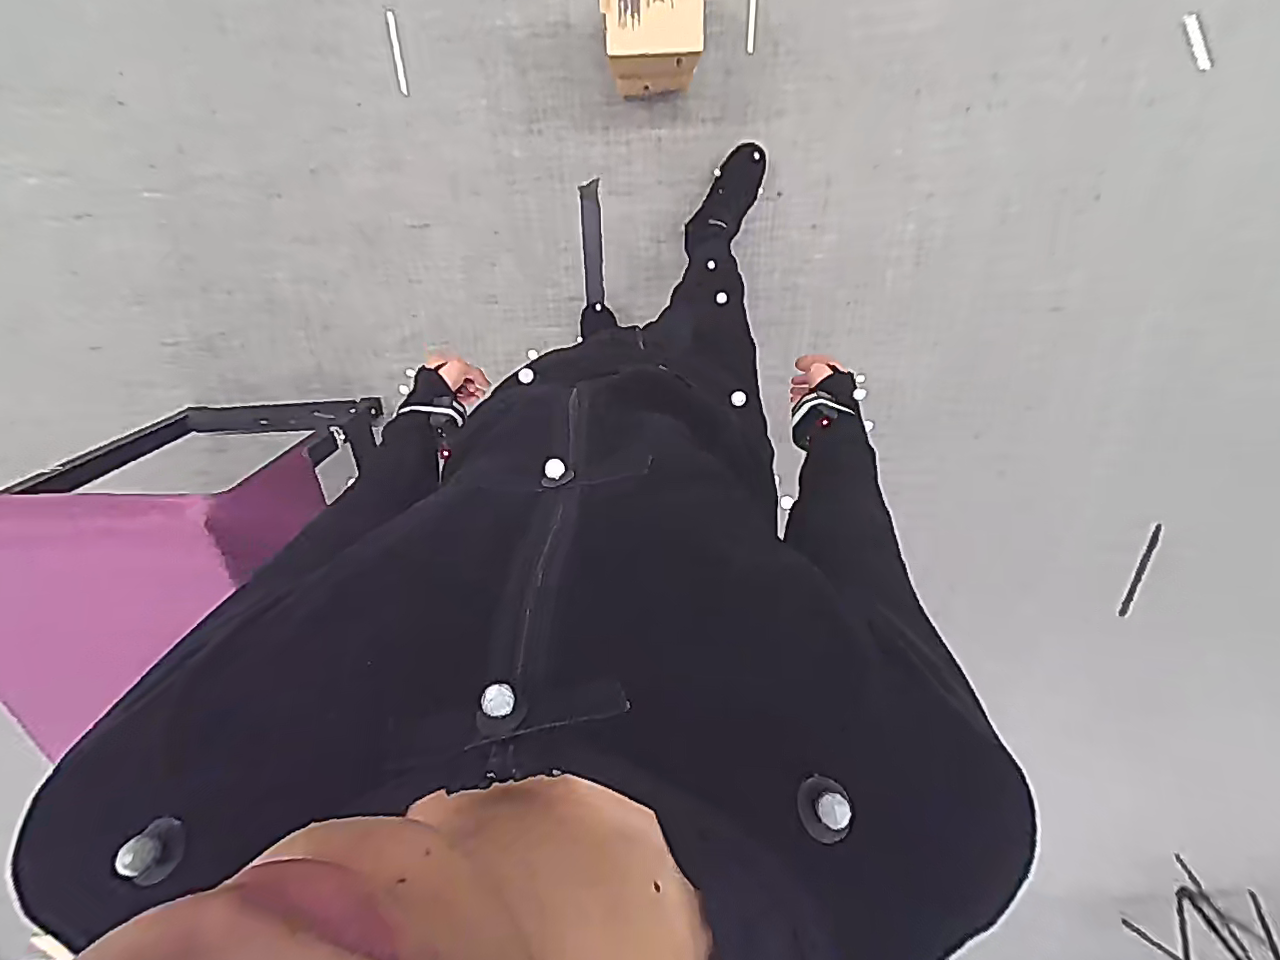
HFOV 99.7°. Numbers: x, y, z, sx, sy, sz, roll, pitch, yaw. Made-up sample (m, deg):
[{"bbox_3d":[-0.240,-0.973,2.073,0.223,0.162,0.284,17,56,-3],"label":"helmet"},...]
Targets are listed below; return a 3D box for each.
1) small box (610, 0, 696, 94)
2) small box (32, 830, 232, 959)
[{"bbox_3d":[0.029,-0.938,1.144,0.168,0.176,0.179,-5,116,3],"label":"small box"},{"bbox_3d":[-0.929,0.787,1.010,0.179,0.176,0.168,-7,117,3],"label":"small box"}]
